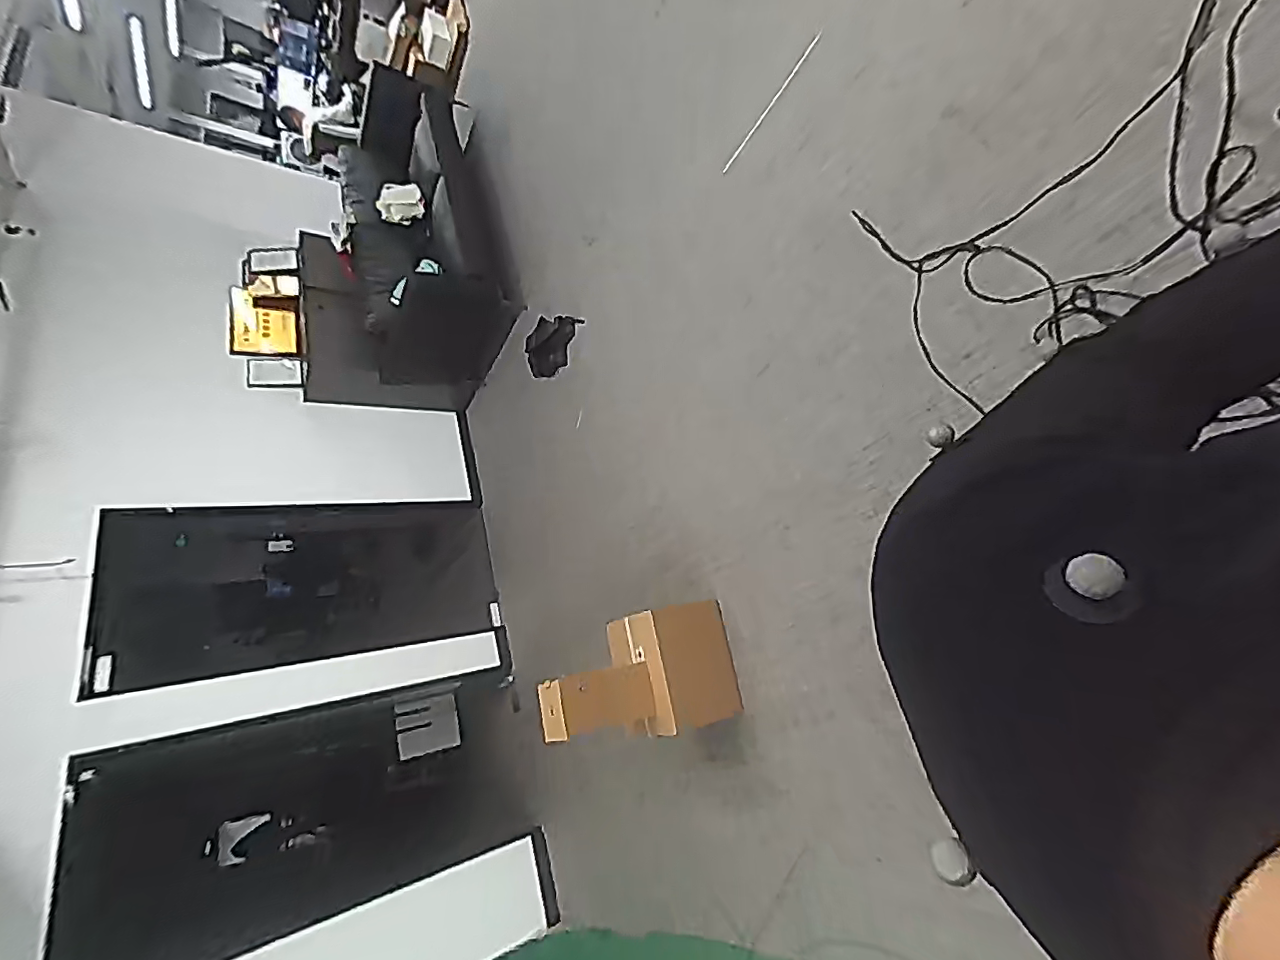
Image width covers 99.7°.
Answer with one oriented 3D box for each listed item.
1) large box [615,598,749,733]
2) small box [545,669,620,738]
[{"bbox_3d":[0.145,0.673,1.974,0.320,0.320,0.408,-34,62,49],"label":"large box"},{"bbox_3d":[-0.185,0.714,1.735,0.168,0.176,0.179,-39,59,49],"label":"small box"}]
